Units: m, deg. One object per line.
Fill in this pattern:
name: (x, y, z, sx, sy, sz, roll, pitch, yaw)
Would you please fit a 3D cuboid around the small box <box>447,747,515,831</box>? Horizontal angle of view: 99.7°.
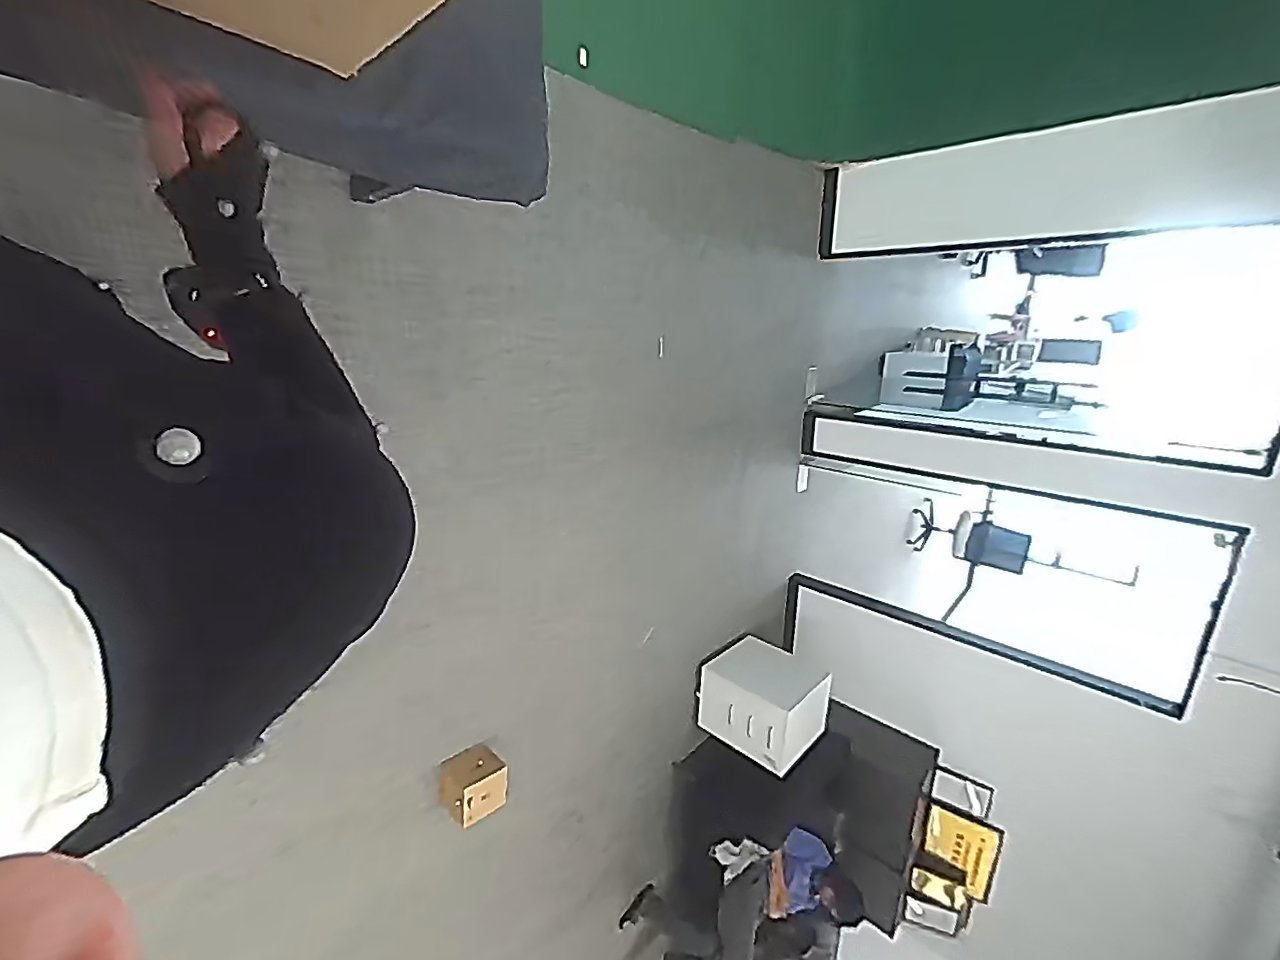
small box: (-0.582, 1.117, 1.974, 0.179, 0.176, 0.168, -9, 108, -47)
